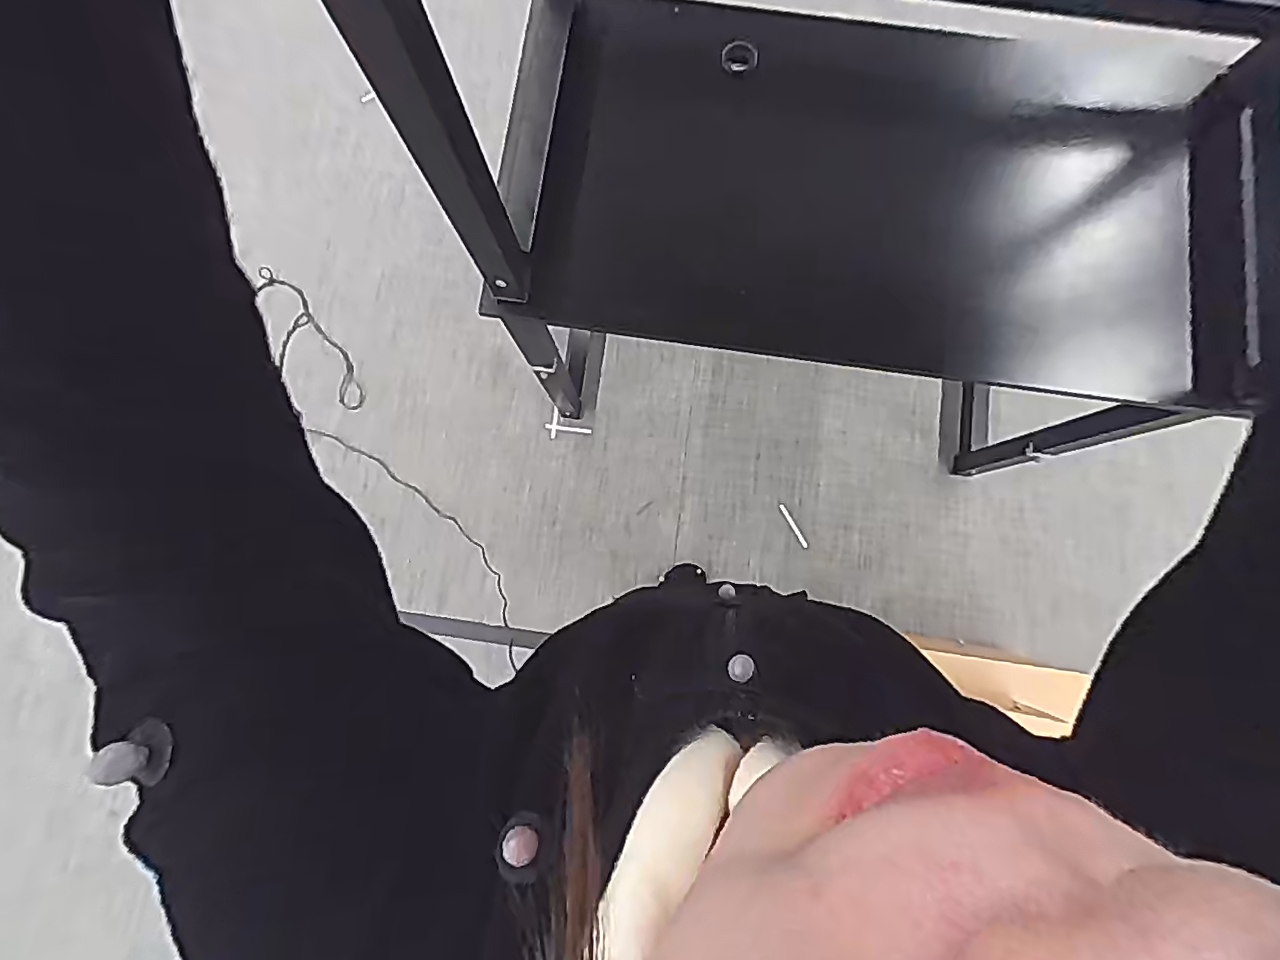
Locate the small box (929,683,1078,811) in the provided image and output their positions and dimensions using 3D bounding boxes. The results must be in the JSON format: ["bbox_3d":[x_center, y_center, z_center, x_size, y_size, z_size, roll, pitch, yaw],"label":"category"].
[{"bbox_3d":[0.712,0.517,1.073,0.179,0.176,0.168,12,82,2],"label":"small box"}]

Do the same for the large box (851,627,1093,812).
[{"bbox_3d":[0.774,0.553,1.316,0.408,0.320,0.320,8,84,0],"label":"large box"}]
